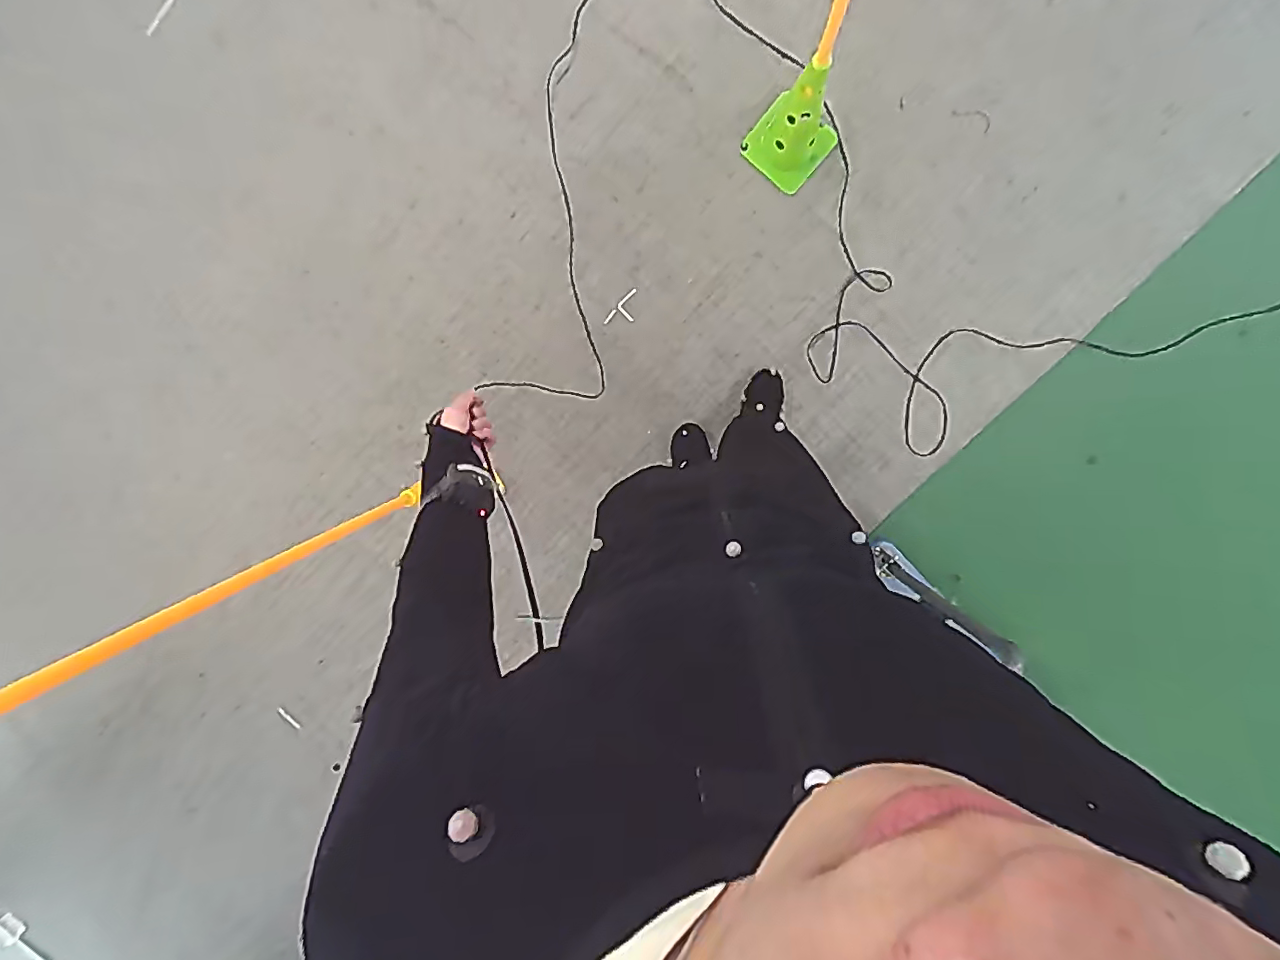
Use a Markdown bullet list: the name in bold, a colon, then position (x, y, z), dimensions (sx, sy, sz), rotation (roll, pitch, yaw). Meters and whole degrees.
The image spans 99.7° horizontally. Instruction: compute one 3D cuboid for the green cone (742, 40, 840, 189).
- **green cone**: position (0.395, -0.895, 1.282), dimensions (0.200, 0.368, 0.202), rotation (40, 97, -2)
